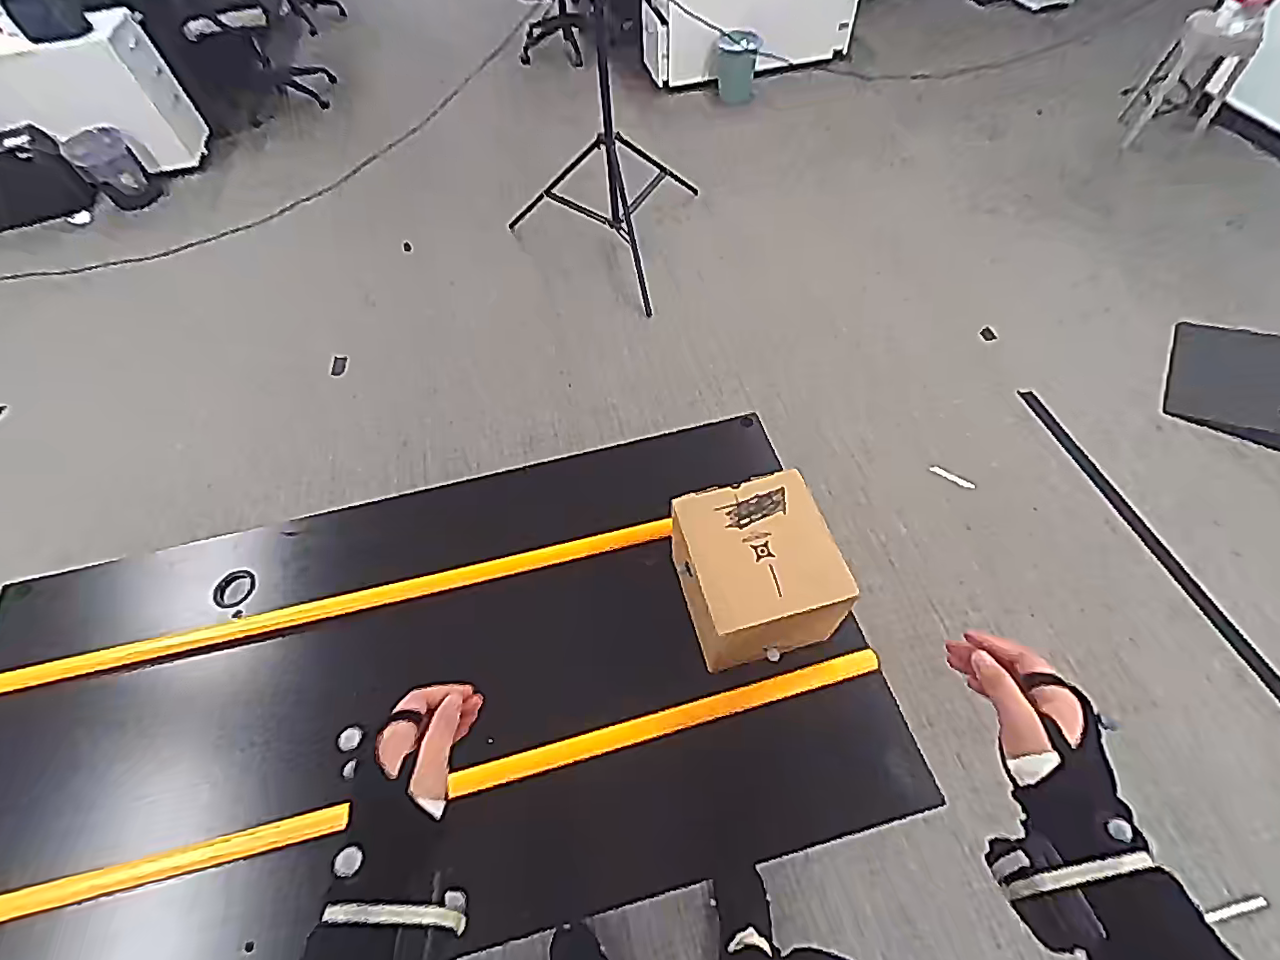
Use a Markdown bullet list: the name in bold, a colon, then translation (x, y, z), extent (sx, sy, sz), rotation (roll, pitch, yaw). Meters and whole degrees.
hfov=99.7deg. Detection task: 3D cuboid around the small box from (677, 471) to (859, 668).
- **small box**: translation (0.146, 0.119, 0.697), extent (0.168, 0.176, 0.179), rotation (-14, 58, -5)
